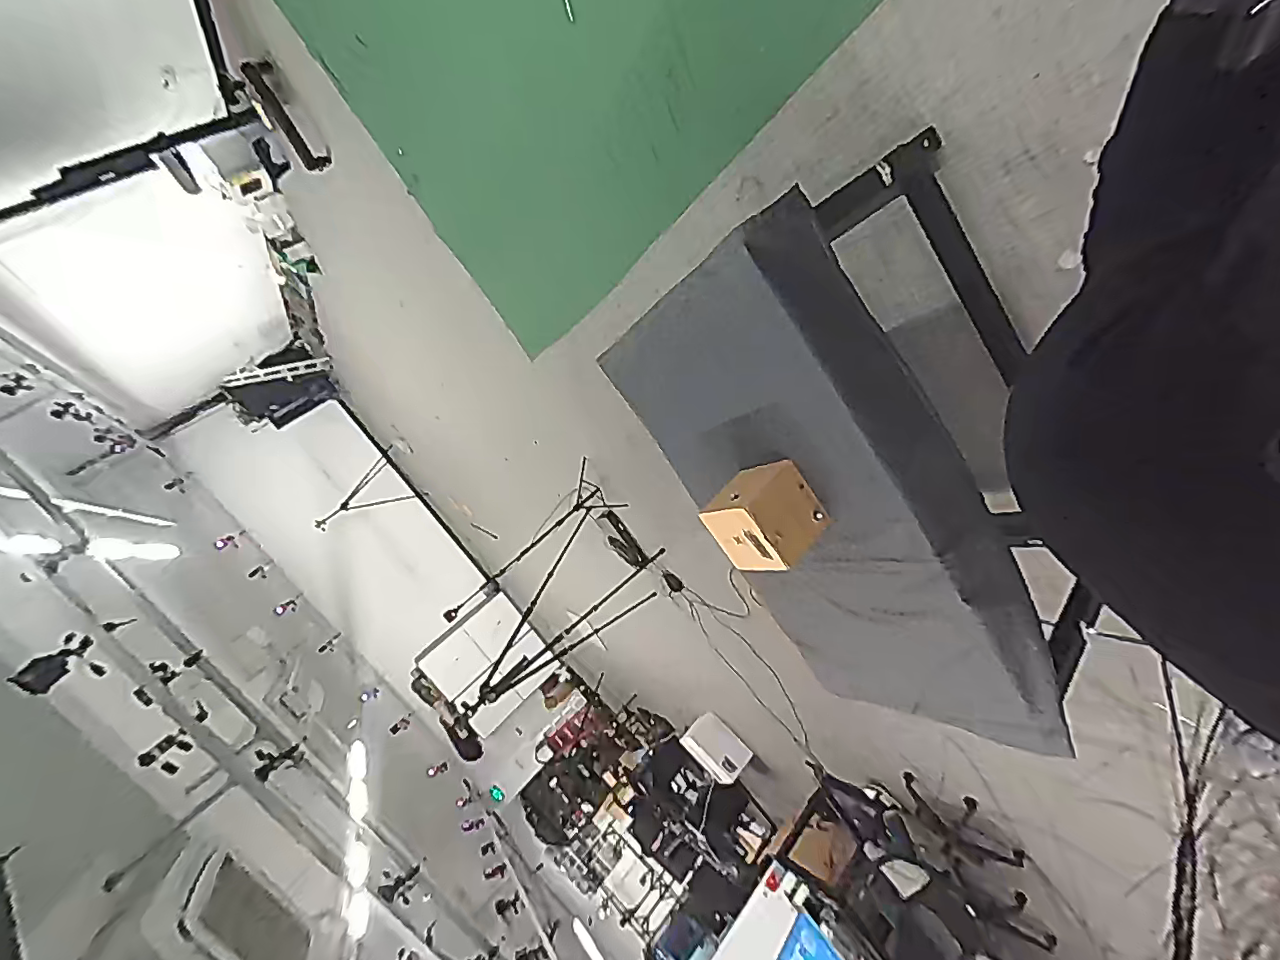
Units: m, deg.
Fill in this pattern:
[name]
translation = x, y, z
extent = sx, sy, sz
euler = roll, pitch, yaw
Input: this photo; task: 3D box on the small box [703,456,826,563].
[small box]
translation = 0.280, 0.064, 1.189
extent = 0.168, 0.176, 0.179
euler = 53, 155, -10
